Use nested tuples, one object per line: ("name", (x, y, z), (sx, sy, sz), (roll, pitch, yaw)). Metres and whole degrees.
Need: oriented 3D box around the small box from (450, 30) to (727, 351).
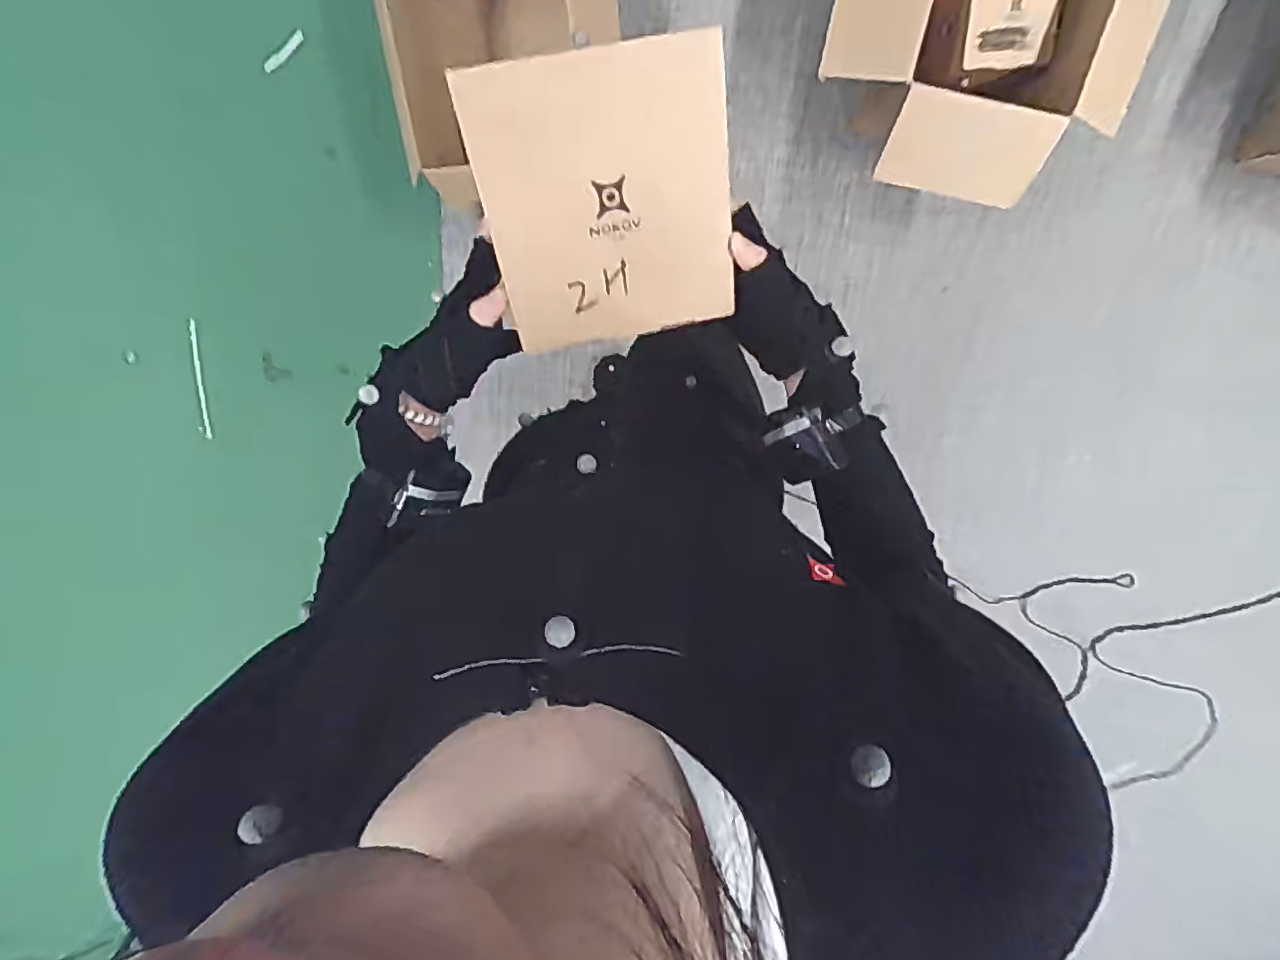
("small box", (-0.036, -0.225, 0.433), (0.168, 0.176, 0.179), (-11, 123, -3))
